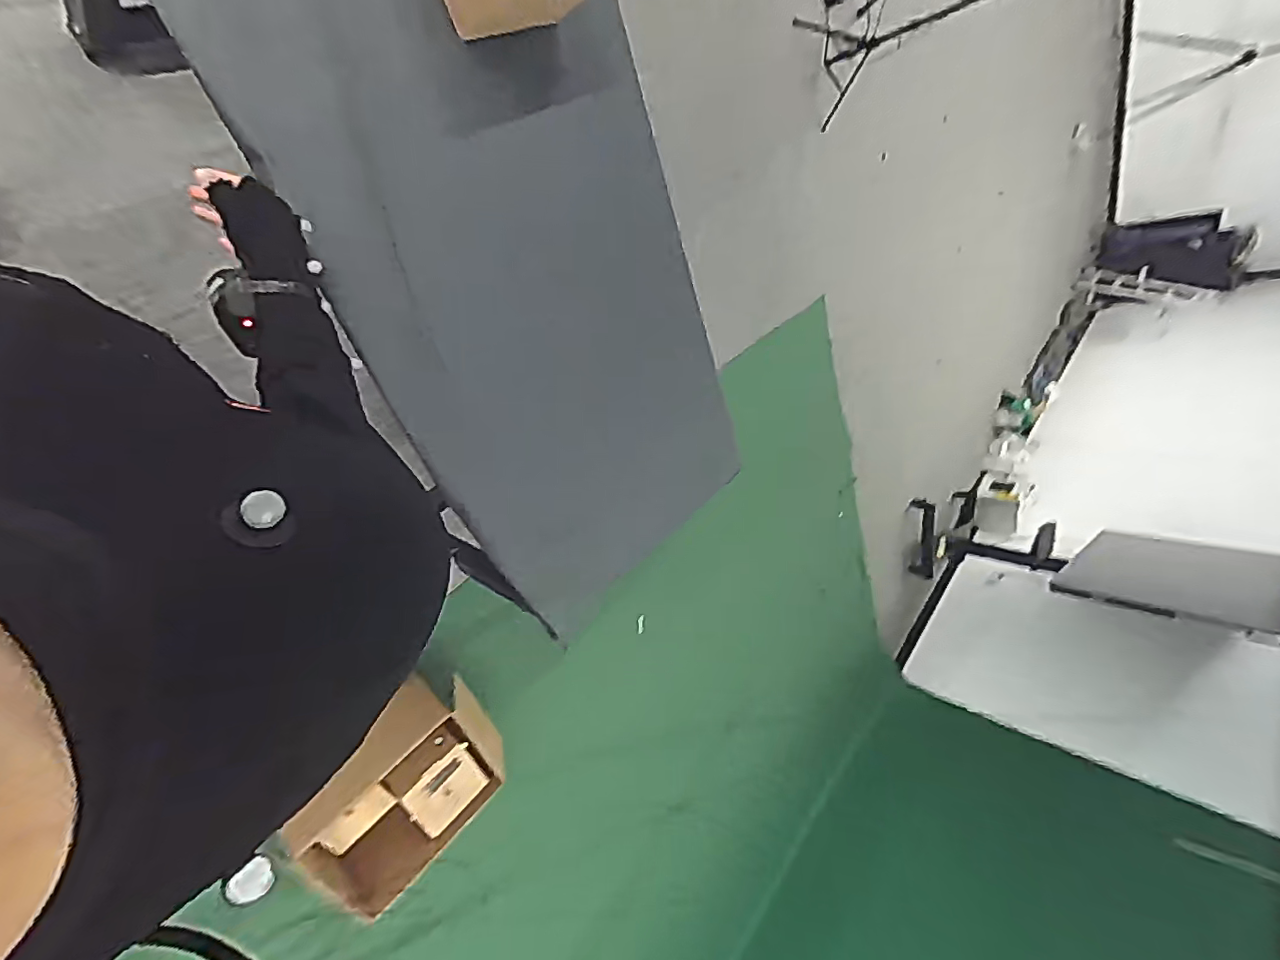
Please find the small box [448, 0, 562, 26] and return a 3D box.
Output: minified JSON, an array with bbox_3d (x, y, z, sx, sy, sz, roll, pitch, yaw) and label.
[{"bbox_3d":[-0.155,-0.689,0.653,0.179,0.176,0.168,-42,126,-30],"label":"small box"}]
